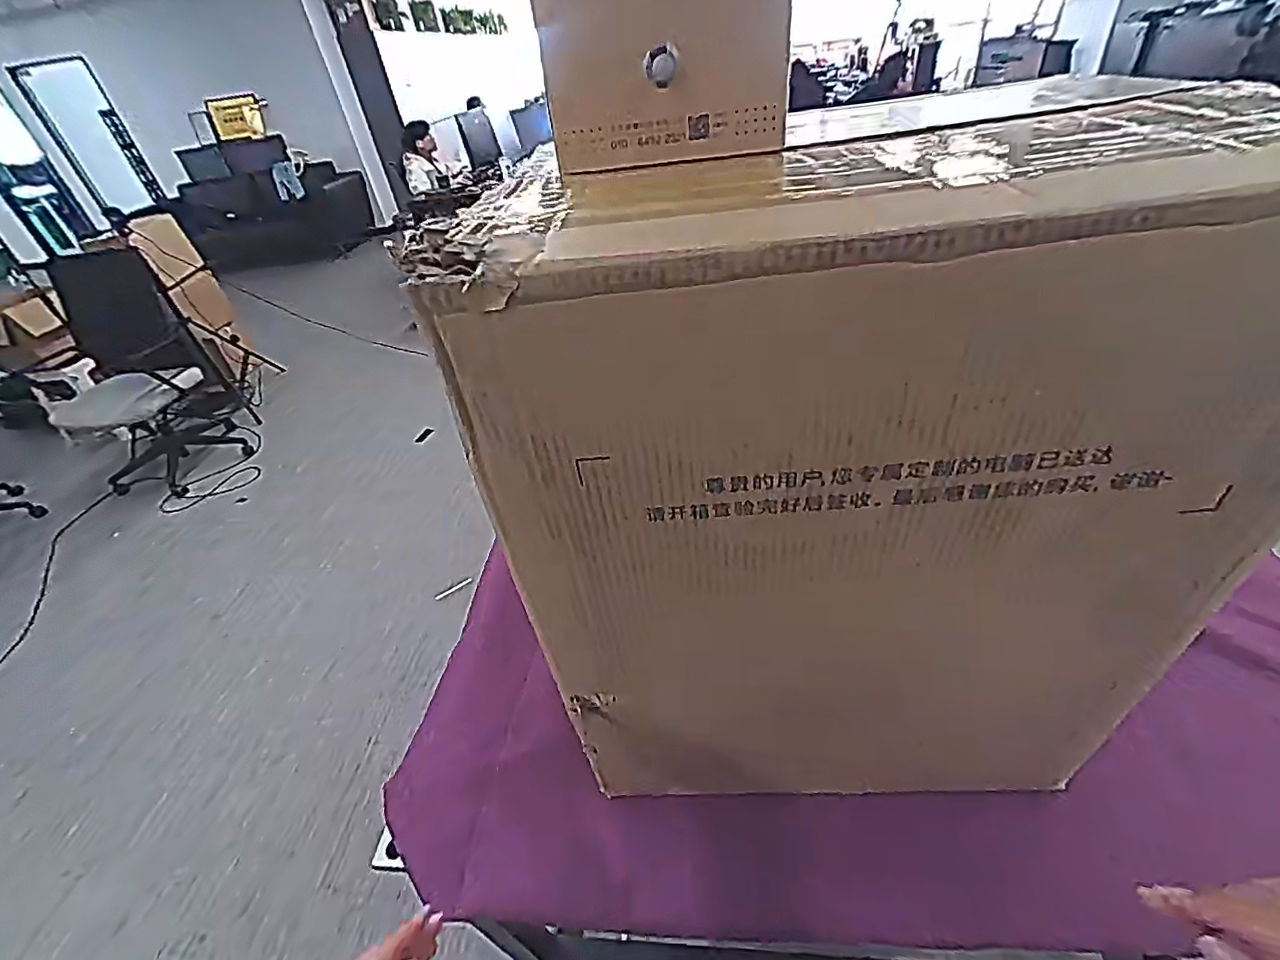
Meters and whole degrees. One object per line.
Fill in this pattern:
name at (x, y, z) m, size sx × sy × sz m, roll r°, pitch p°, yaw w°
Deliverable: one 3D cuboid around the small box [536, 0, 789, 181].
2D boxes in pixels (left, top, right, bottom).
small box at (0.018, -0.343, 0.418) m, size 0.168 × 0.176 × 0.179 m, roll -4°, pitch 39°, yaw 6°
